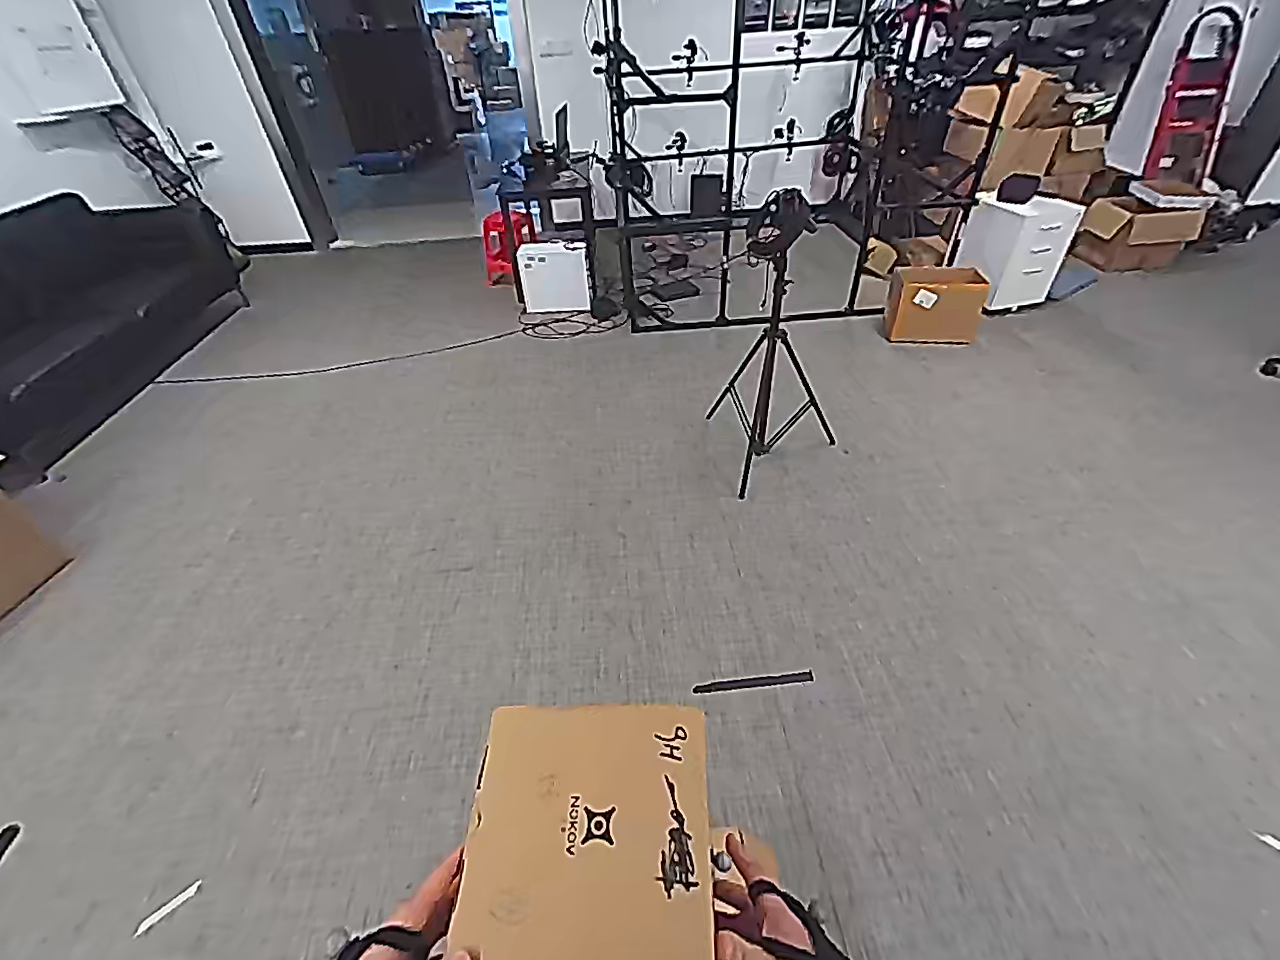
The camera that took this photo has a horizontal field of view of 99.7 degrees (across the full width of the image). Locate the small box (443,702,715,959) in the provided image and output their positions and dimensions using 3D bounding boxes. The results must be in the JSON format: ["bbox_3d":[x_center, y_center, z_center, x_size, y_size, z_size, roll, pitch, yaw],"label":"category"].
[{"bbox_3d":[-0.030,0.298,0.450,0.179,0.176,0.168,-2,49,6],"label":"small box"}]
